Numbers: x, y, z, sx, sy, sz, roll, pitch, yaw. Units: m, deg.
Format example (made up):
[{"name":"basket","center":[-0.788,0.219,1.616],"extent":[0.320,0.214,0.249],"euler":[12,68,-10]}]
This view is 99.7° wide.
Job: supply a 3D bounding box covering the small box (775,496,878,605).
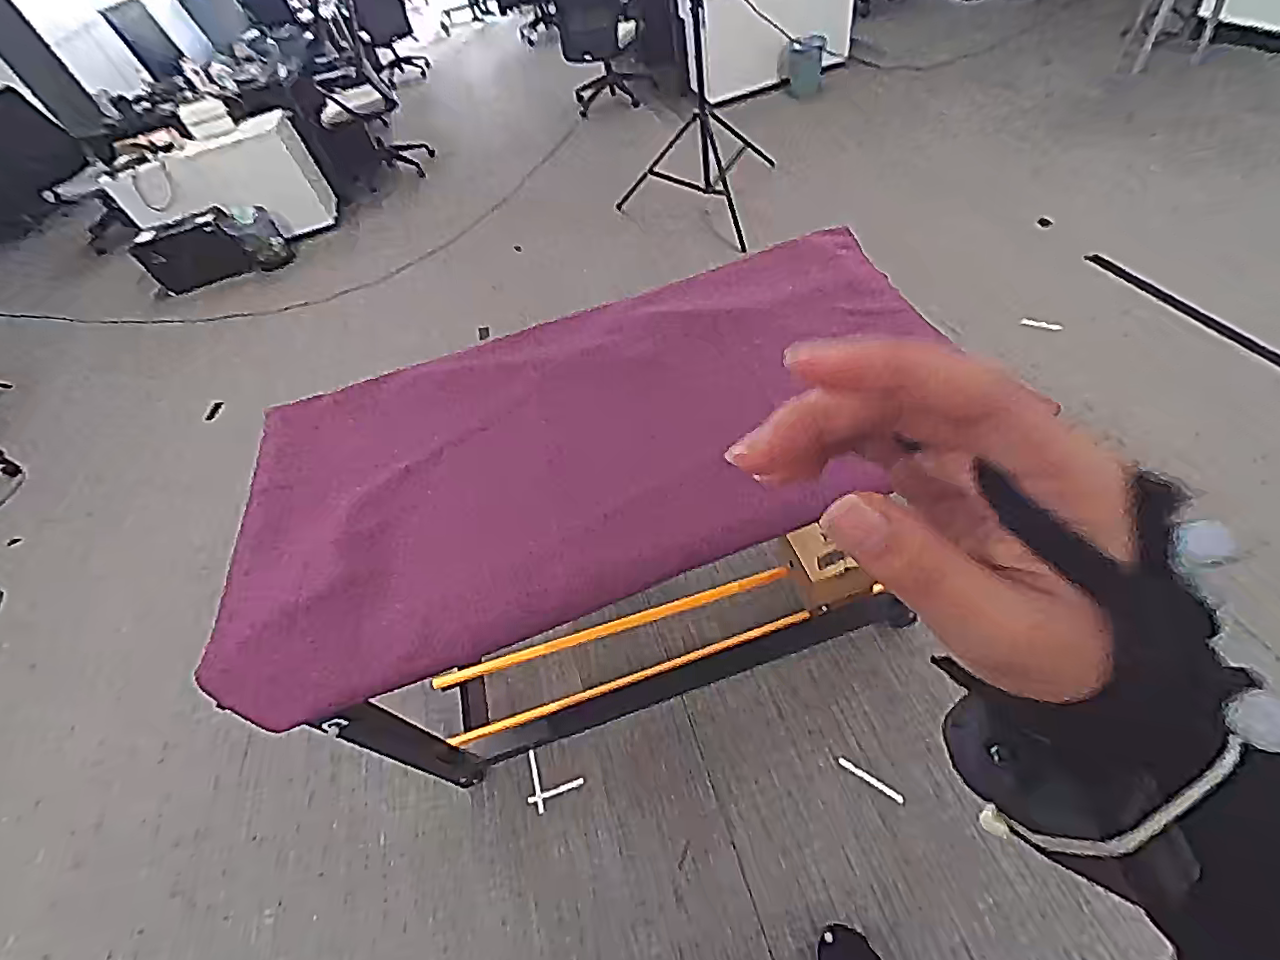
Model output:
[{"name":"small box","center":[0.433,0.175,1.275],"extent":[0.168,0.176,0.179],"euler":[-19,50,-2]}]
